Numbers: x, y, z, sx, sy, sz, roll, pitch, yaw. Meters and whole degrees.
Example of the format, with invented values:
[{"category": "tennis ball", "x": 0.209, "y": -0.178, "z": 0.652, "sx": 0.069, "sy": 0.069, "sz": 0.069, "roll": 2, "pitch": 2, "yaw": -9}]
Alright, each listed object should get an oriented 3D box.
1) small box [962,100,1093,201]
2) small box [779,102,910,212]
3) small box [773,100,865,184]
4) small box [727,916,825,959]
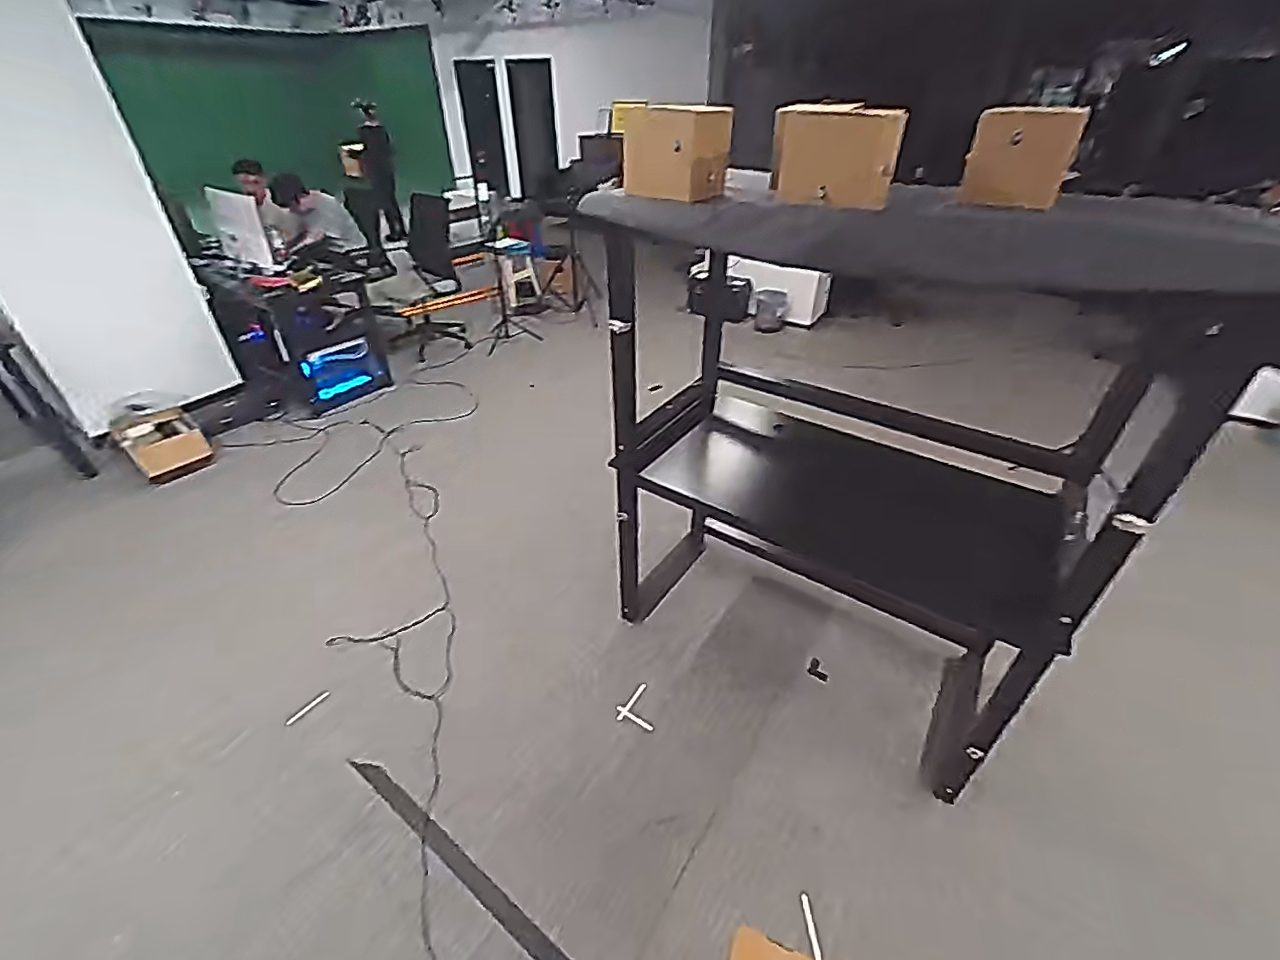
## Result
[{"category": "small box", "x": 0.799, "y": -0.686, "z": 1.125, "sx": 0.179, "sy": 0.176, "sz": 0.168, "roll": 22, "pitch": 42, "yaw": 28}, {"category": "small box", "x": 0.389, "y": -0.624, "z": 1.045, "sx": 0.179, "sy": 0.176, "sz": 0.168, "roll": 22, "pitch": 40, "yaw": 27}, {"category": "small box", "x": 0.431, "y": -0.817, "z": 1.312, "sx": 0.168, "sy": 0.176, "sz": 0.179, "roll": 16, "pitch": 39, "yaw": 23}, {"category": "small box", "x": 0.148, "y": 0.605, "z": 0.545, "sx": 0.168, "sy": 0.176, "sz": 0.179, "roll": 15, "pitch": 38, "yaw": 19}]
